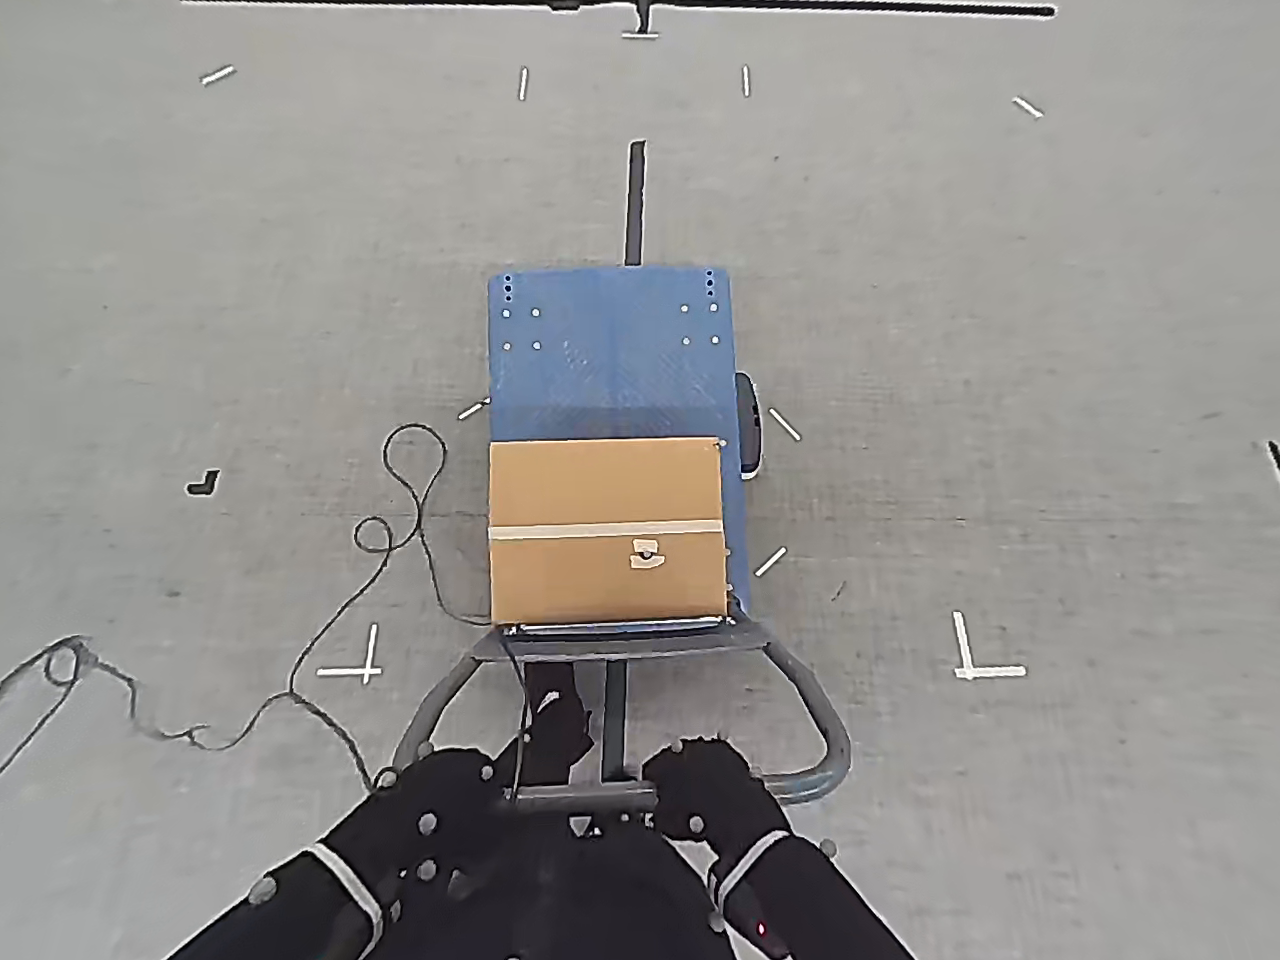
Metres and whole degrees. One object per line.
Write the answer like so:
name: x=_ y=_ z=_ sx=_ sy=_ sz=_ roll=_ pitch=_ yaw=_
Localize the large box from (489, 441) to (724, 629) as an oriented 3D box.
large box: x=-0.066 y=0.104 z=1.078 sx=0.408 sy=0.320 sz=0.320 roll=-1 pitch=86 yaw=-3
